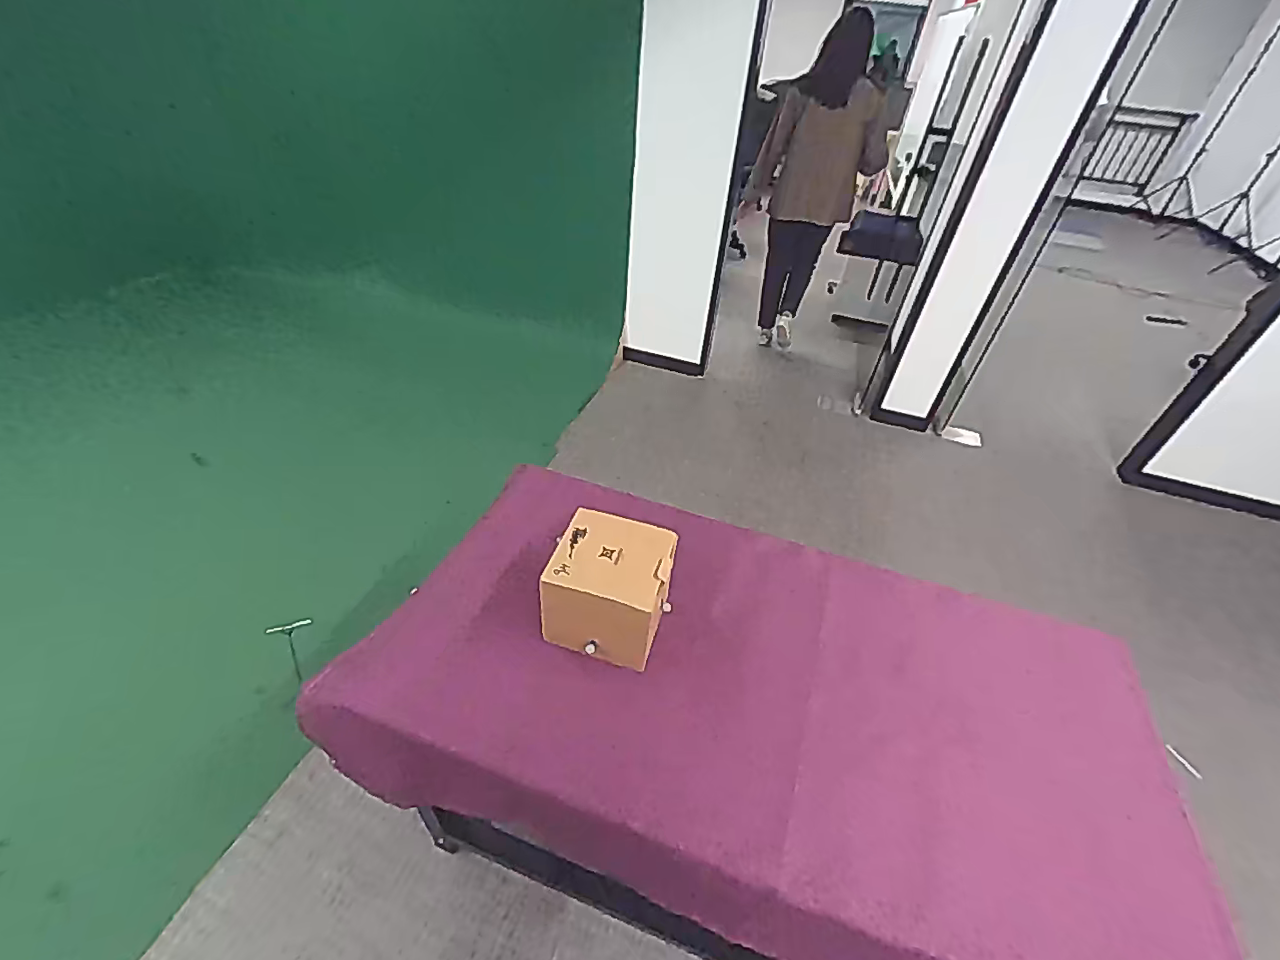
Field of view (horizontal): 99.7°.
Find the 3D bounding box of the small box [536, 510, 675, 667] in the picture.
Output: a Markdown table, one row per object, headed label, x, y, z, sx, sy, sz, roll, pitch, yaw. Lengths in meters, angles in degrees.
| label | x | y | z | sx | sy | sz | roll | pitch | yaw |
| --- | --- | --- | --- | --- | --- | --- | --- | --- | --- |
| small box | -0.054 | 0.181 | 0.892 | 0.179 | 0.176 | 0.168 | 15 | 42 | 10 |
